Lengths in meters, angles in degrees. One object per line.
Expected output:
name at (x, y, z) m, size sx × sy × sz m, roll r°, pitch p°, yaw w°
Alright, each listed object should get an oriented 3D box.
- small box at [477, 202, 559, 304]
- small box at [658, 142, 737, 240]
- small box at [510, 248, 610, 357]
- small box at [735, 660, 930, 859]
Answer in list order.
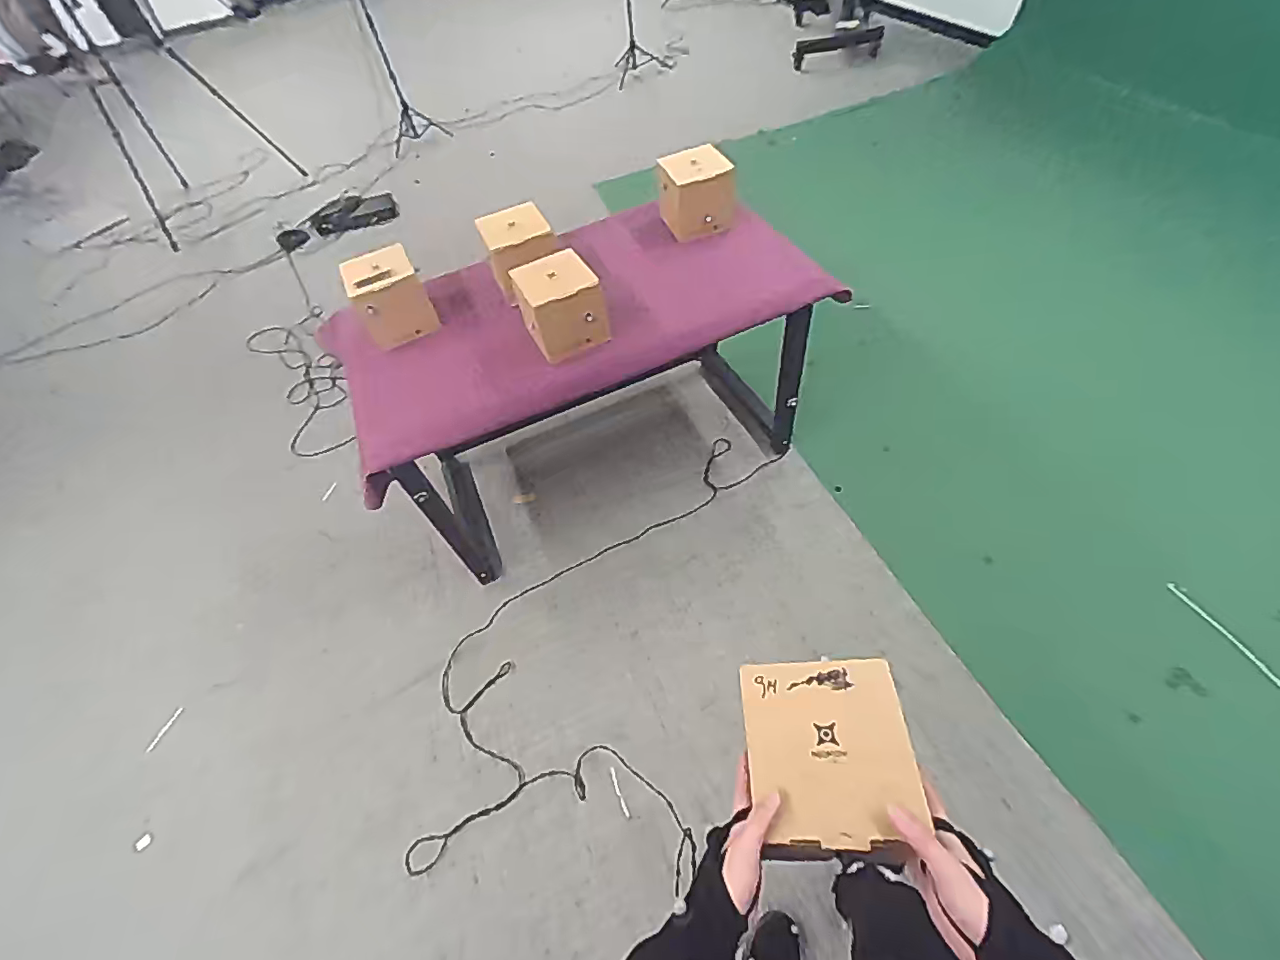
small box at (-0.315, -0.607, 1.451) m, size 0.168 × 0.176 × 0.179 m, roll -24°, pitch 56°, yaw -9°
small box at (0.160, -0.810, 1.521) m, size 0.168 × 0.176 × 0.179 m, roll -20°, pitch 55°, yaw -5°
small box at (-0.186, -0.416, 1.293) m, size 0.168 × 0.176 × 0.179 m, roll -25°, pitch 54°, yaw -11°
small box at (0.201, 0.322, 0.615) m, size 0.168 × 0.176 × 0.179 m, roll -5°, pitch 51°, yaw 8°
